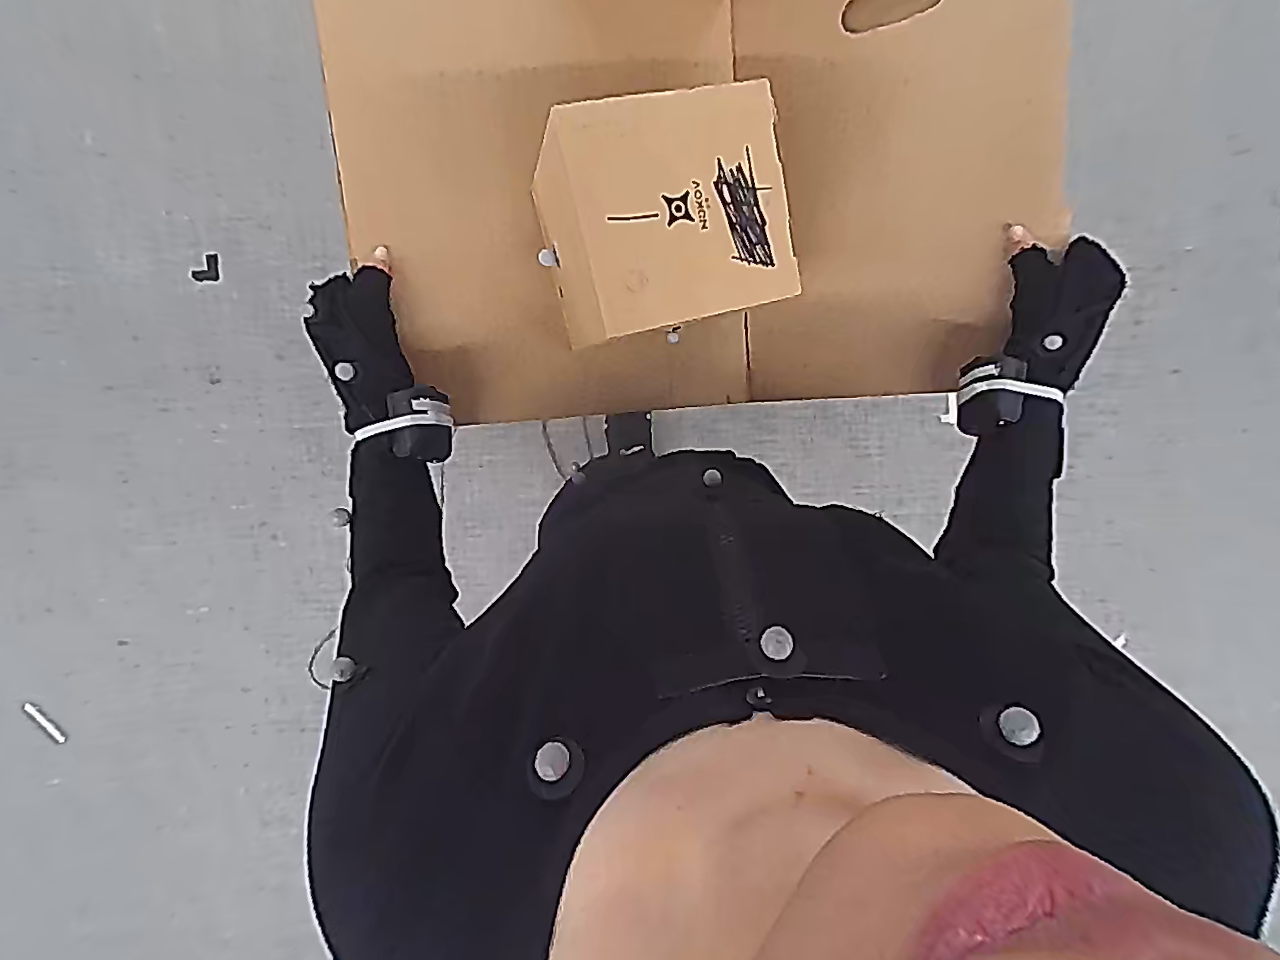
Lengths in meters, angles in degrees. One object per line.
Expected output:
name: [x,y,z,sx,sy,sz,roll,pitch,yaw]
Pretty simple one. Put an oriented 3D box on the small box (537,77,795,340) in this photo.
small box: [0.014,-0.233,0.502,0.179,0.176,0.168,-16,103,-13]
